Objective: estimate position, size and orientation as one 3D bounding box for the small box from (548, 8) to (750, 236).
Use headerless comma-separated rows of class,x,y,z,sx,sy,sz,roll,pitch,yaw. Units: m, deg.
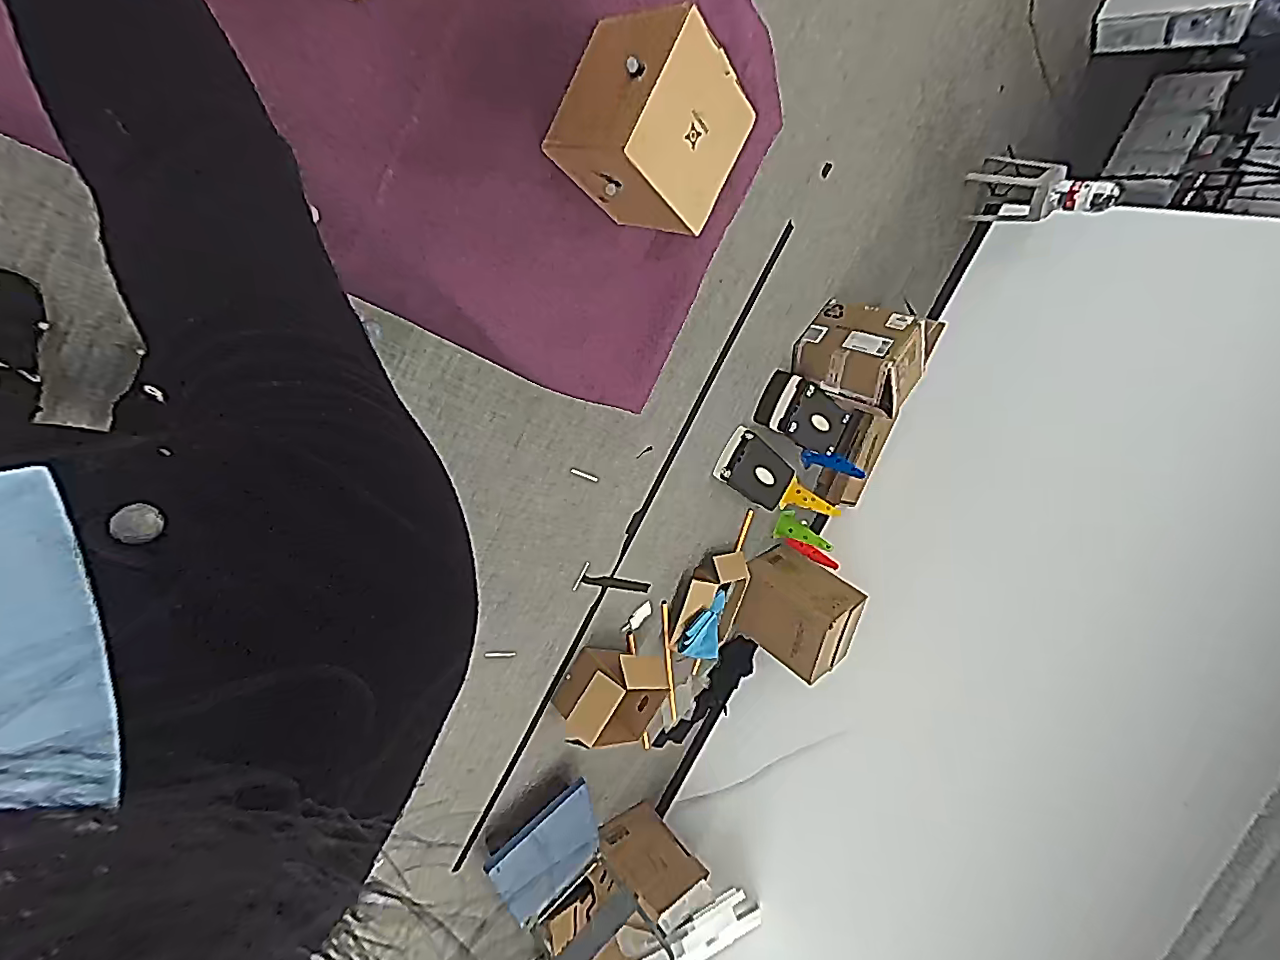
small box,0.006,-0.453,0.708,0.168,0.176,0.179,22,96,-51
